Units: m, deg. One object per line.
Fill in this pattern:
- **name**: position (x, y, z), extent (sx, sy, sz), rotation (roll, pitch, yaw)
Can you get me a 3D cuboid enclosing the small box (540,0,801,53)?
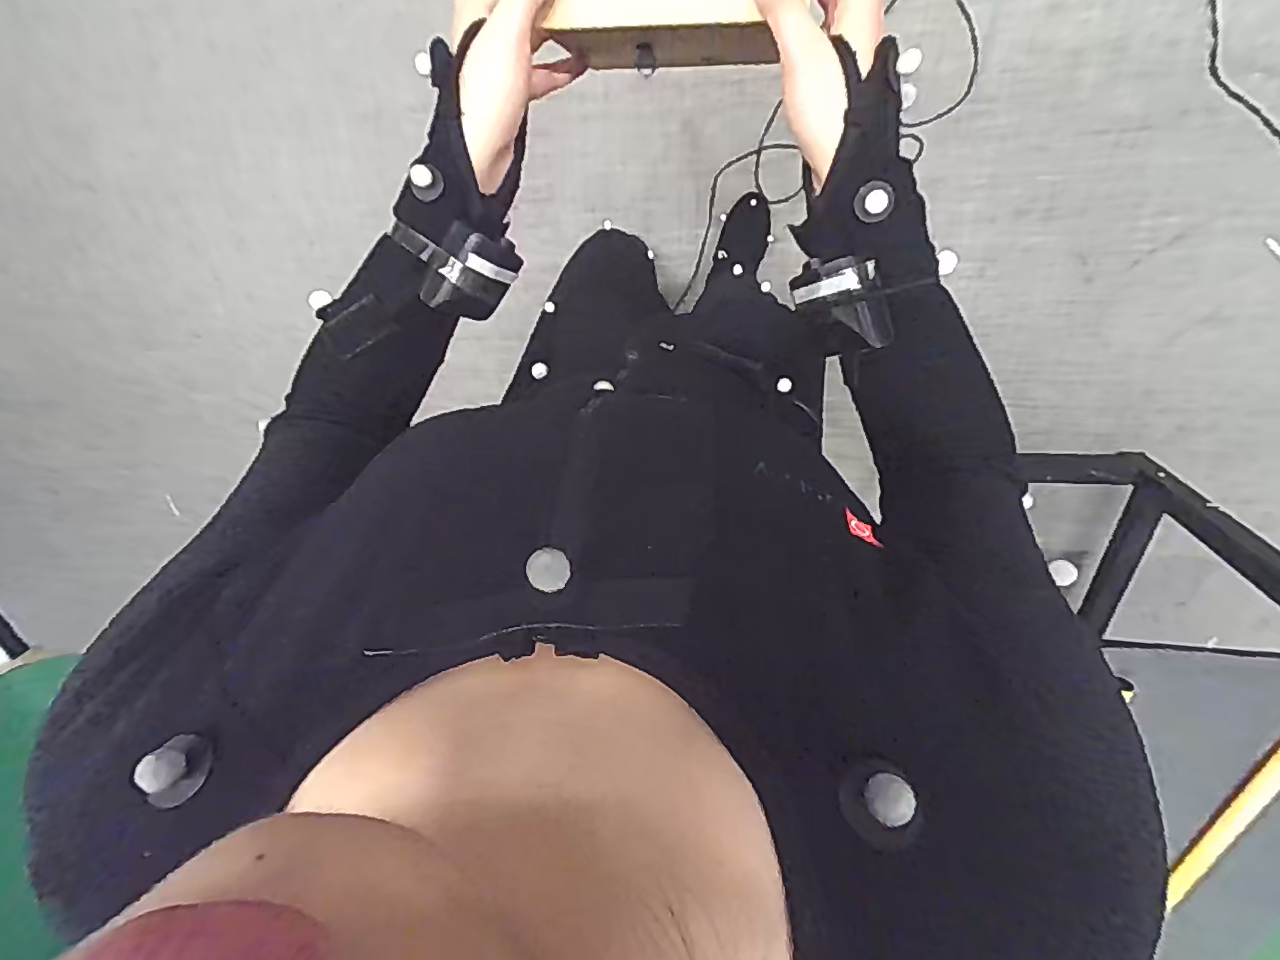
- **small box**: position (0.030, -0.397, 0.349), extent (0.168, 0.176, 0.179), rotation (4, 119, 8)
